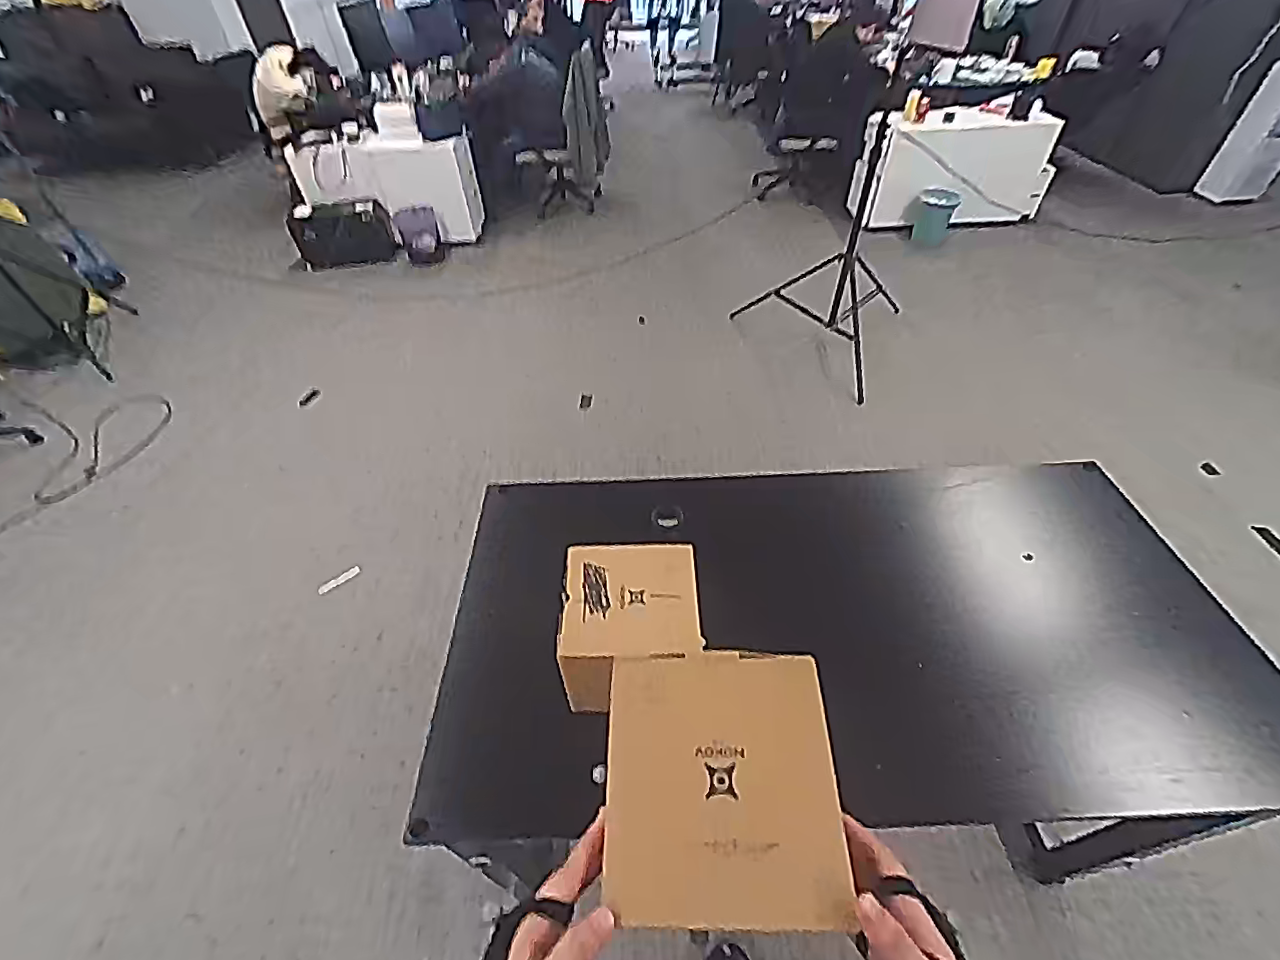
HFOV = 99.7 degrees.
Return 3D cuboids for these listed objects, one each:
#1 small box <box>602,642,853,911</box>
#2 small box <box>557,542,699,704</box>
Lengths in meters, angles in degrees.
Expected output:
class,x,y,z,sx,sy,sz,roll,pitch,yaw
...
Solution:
class,x,y,z,sx,sy,sz,roll,pitch,yaw
small box,0.060,0.254,0.463,0.168,0.176,0.179,0,53,2
small box,-0.012,0.203,0.762,0.179,0.176,0.168,-1,46,0
